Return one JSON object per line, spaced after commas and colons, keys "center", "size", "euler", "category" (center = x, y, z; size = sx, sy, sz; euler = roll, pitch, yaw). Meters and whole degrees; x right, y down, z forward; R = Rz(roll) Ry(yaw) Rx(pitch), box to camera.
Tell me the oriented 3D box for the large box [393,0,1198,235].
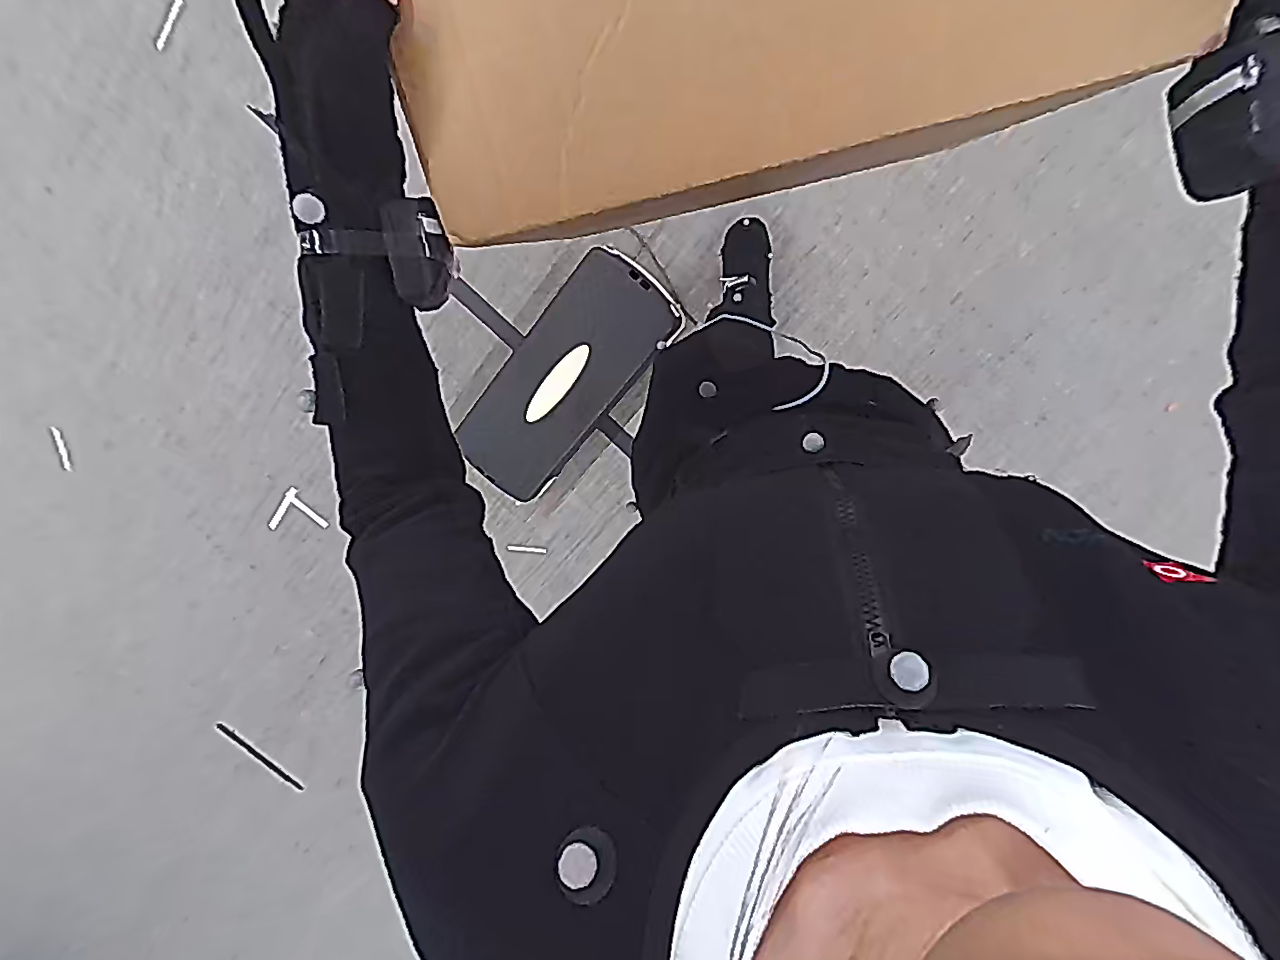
{"center": [0.065, -0.387, 0.385], "size": [0.408, 0.320, 0.320], "euler": [-9, 114, 12], "category": "large box"}
